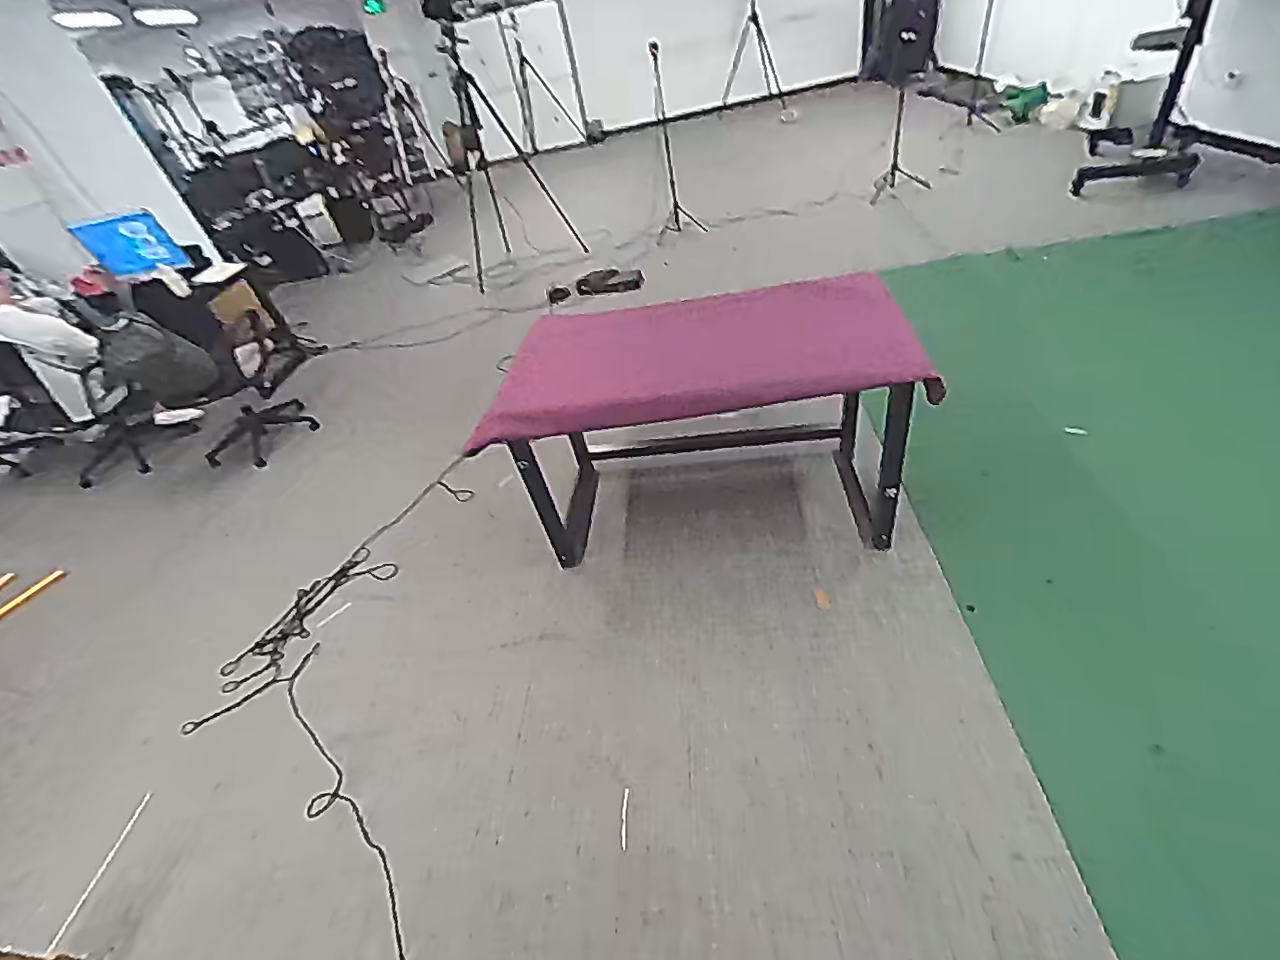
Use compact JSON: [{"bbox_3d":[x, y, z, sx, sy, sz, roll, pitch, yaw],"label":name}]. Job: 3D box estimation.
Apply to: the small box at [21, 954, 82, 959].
[{"bbox_3d":[-1.406,1.231,1.257,0.168,0.176,0.179,-7,40,9],"label":"small box"}]
